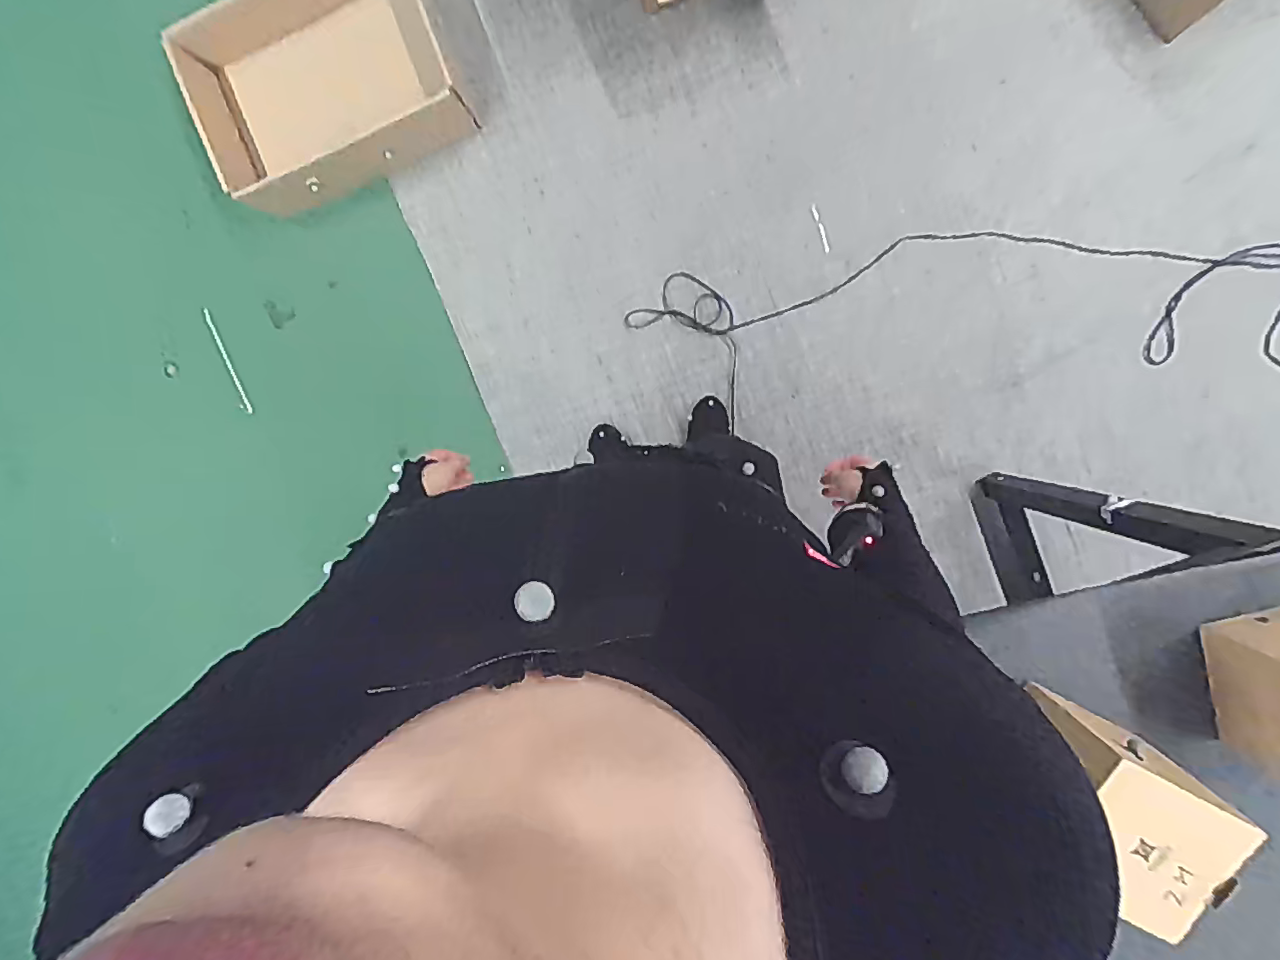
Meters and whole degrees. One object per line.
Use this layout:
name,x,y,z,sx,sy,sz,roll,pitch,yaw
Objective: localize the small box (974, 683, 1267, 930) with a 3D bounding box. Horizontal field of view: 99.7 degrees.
small box,0.567,0.383,0.672,0.179,0.176,0.168,27,100,0
